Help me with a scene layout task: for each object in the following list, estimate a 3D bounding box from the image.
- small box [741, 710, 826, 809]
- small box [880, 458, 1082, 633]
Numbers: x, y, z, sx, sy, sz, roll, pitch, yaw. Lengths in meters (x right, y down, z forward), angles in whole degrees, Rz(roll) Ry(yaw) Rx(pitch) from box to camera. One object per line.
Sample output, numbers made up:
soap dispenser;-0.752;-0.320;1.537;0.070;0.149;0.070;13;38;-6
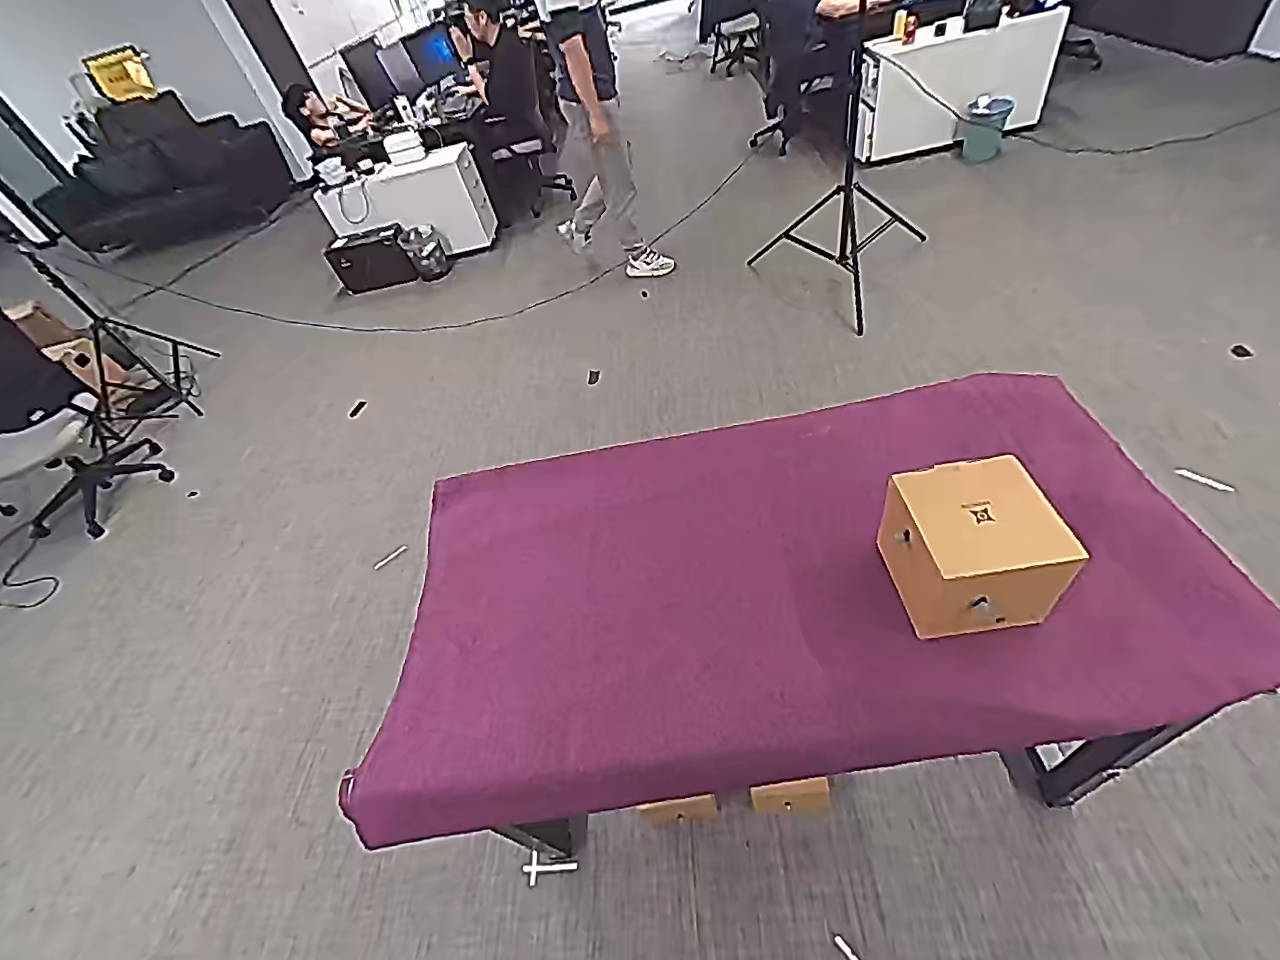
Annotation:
small box;0.336;0.665;1.276;0.168;0.176;0.179;-8;46;8
small box;0.453;0.099;0.754;0.168;0.176;0.179;-10;46;6
